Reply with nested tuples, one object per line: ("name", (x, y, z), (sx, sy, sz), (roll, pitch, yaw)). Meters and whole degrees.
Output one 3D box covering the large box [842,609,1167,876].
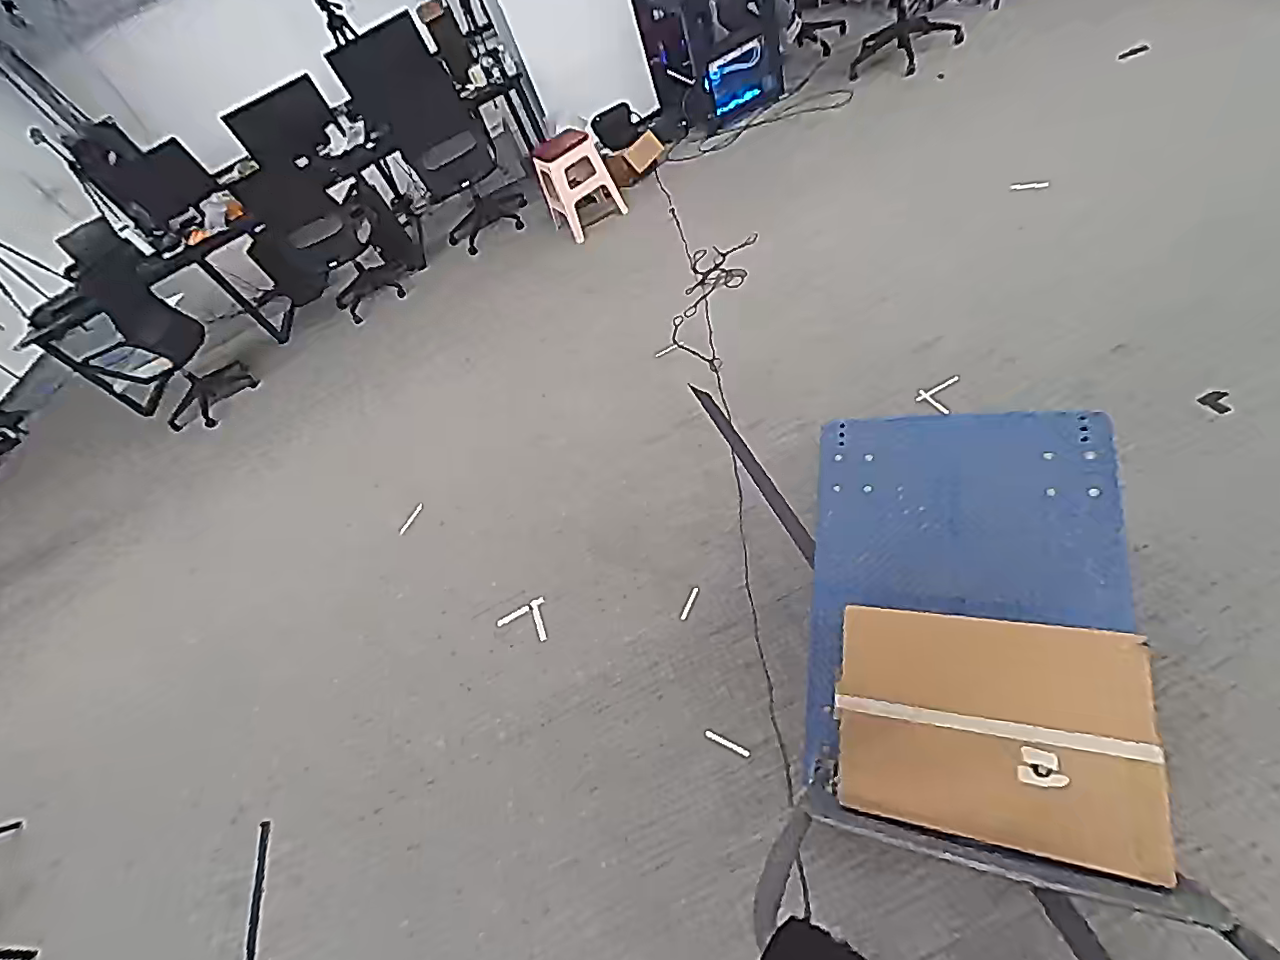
("large box", (0.577, 0.419, 0.949), (0.408, 0.320, 0.320), (1, 72, 25))
